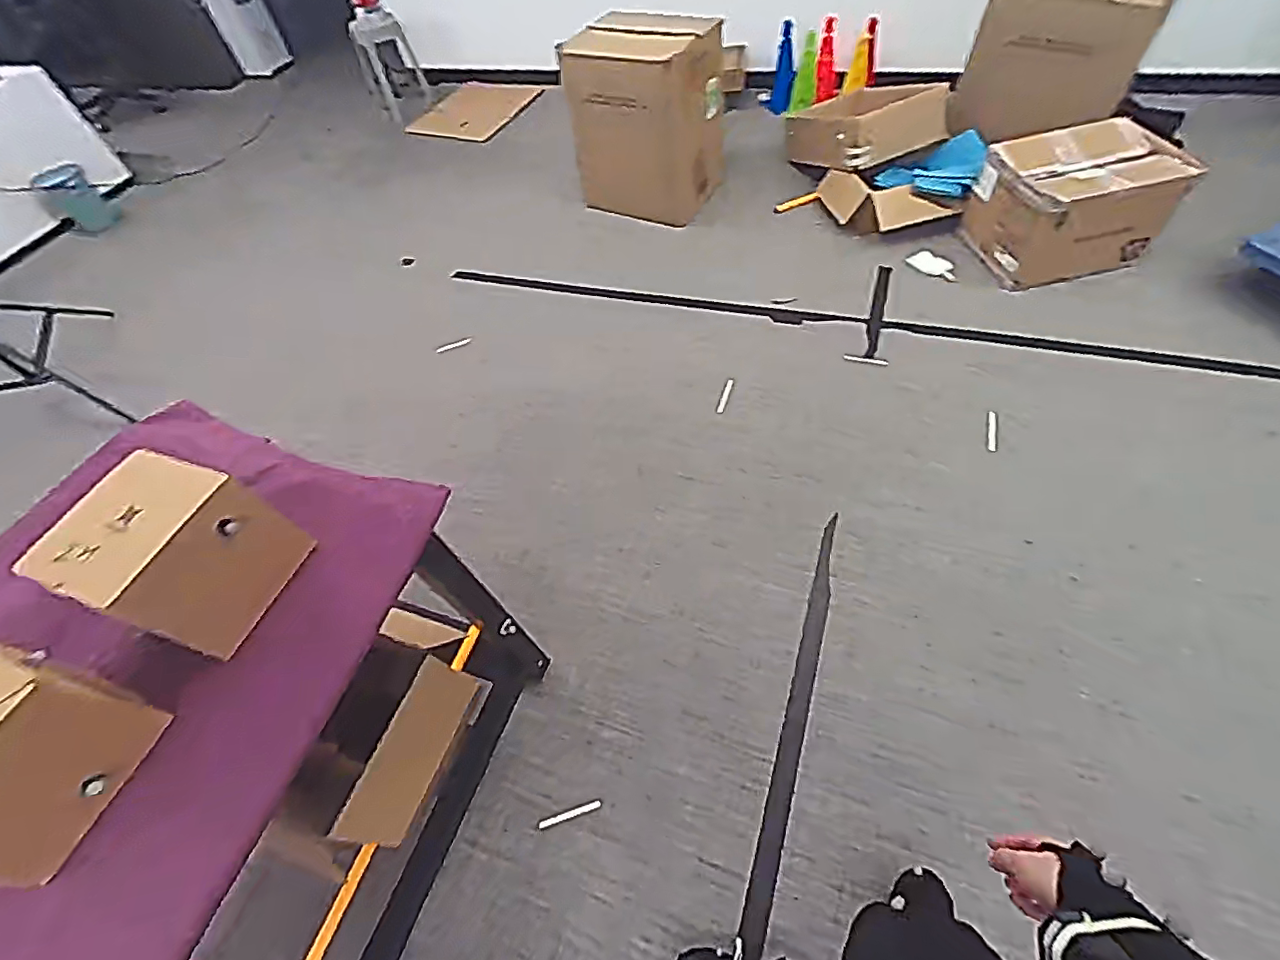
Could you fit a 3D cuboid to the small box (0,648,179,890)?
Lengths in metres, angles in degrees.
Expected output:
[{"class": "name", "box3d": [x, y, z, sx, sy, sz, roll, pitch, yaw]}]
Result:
[{"class": "small box", "box3d": [-0.660, 0.288, 0.557, 0.168, 0.176, 0.179, 13, 59, 18]}]

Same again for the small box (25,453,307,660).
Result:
[{"class": "small box", "box3d": [-0.564, 0.097, 0.678, 0.168, 0.176, 0.179, 13, 58, 18]}]
